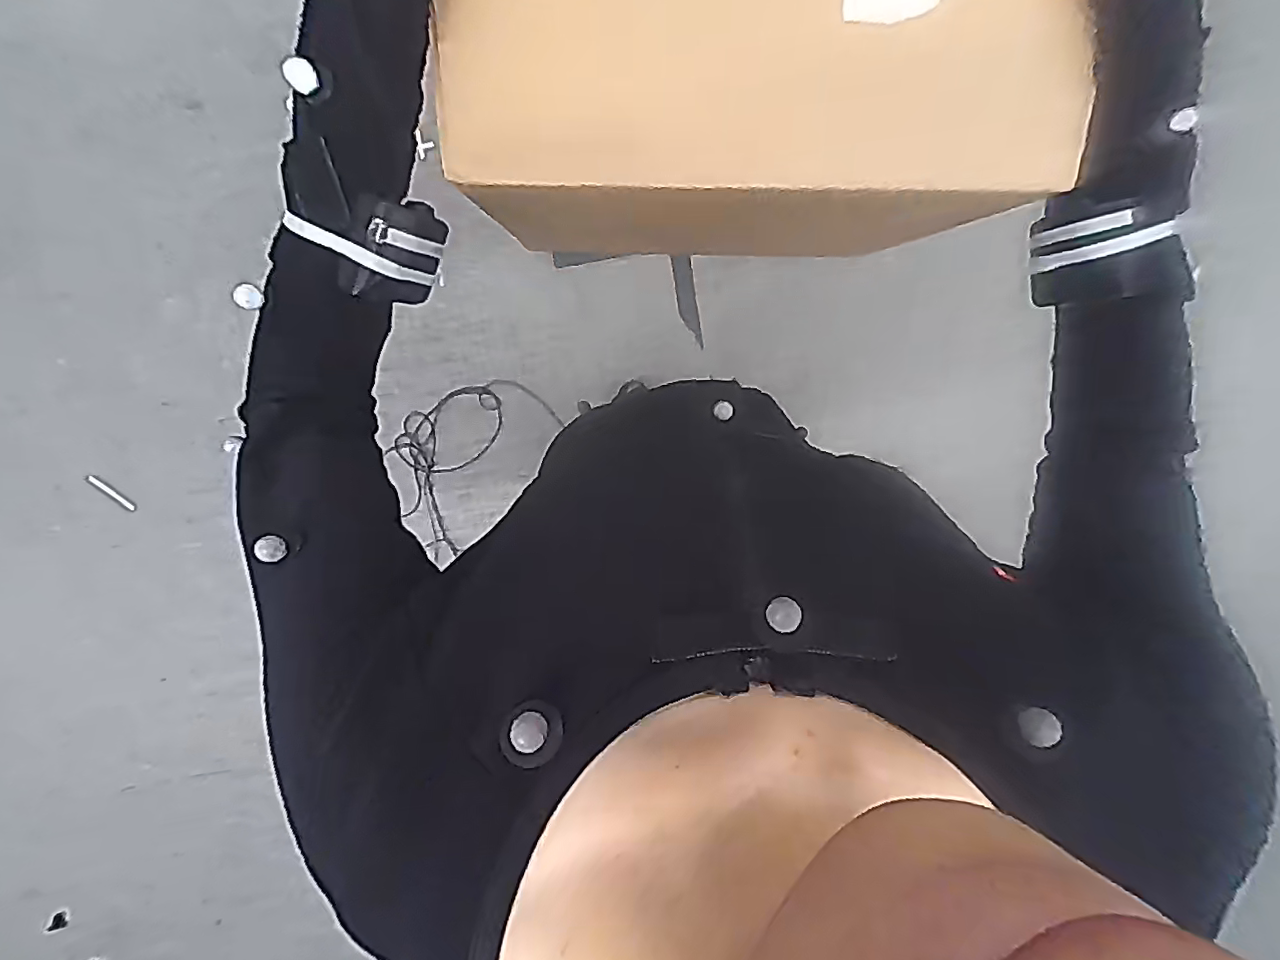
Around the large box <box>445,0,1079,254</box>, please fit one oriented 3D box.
[{"bbox_3d":[0.070,-0.385,0.464,0.408,0.320,0.320,-1,105,-2],"label":"large box"}]
